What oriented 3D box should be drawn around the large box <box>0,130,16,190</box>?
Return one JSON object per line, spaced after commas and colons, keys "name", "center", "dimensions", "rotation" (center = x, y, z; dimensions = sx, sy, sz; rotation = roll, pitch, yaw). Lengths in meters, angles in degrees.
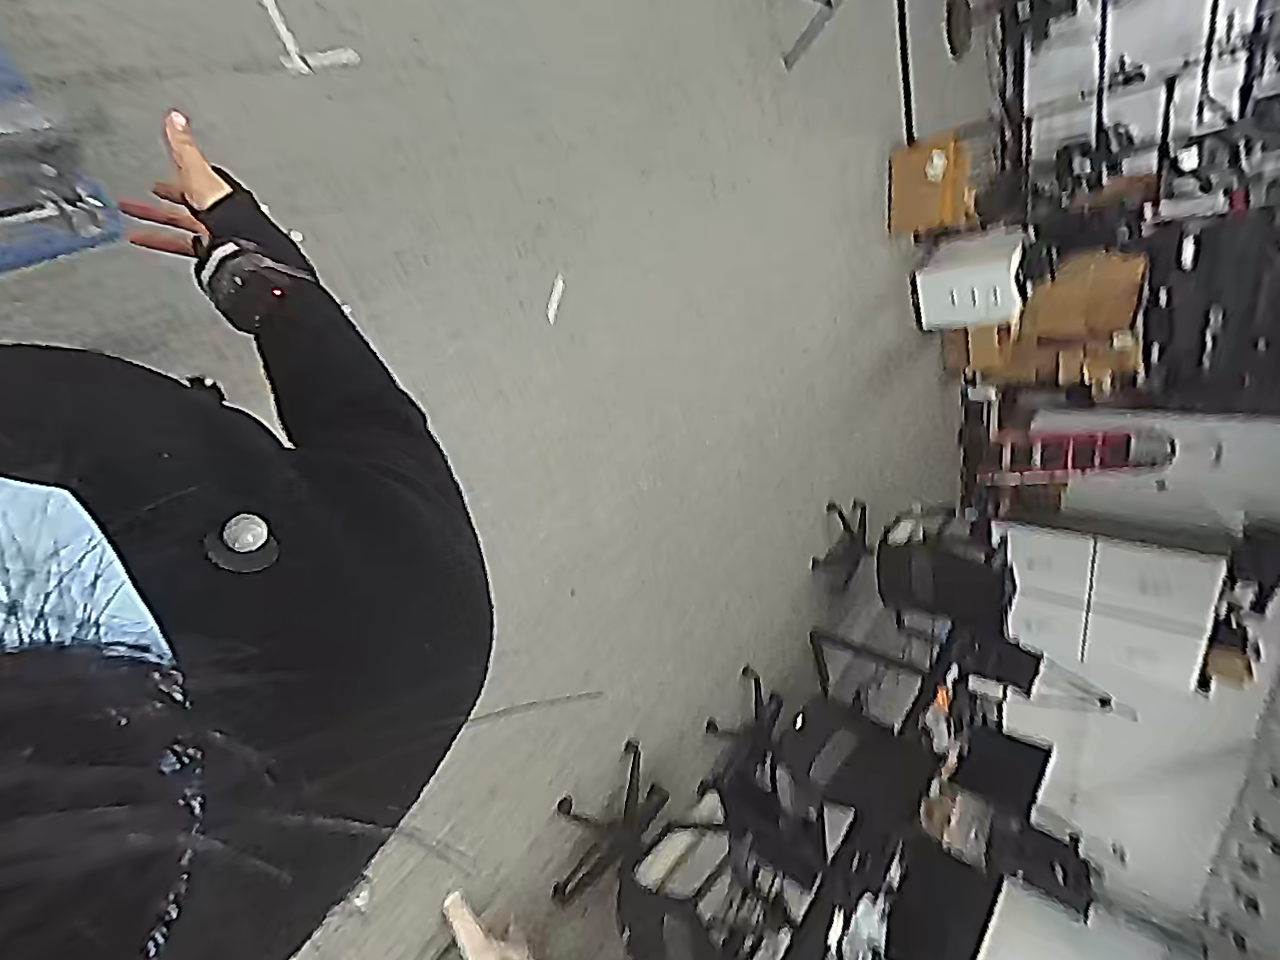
{"name": "large box", "center": [-1.051, -0.469, 0.577], "dimensions": [0.408, 0.320, 0.320], "rotation": [-40, 124, -35]}
